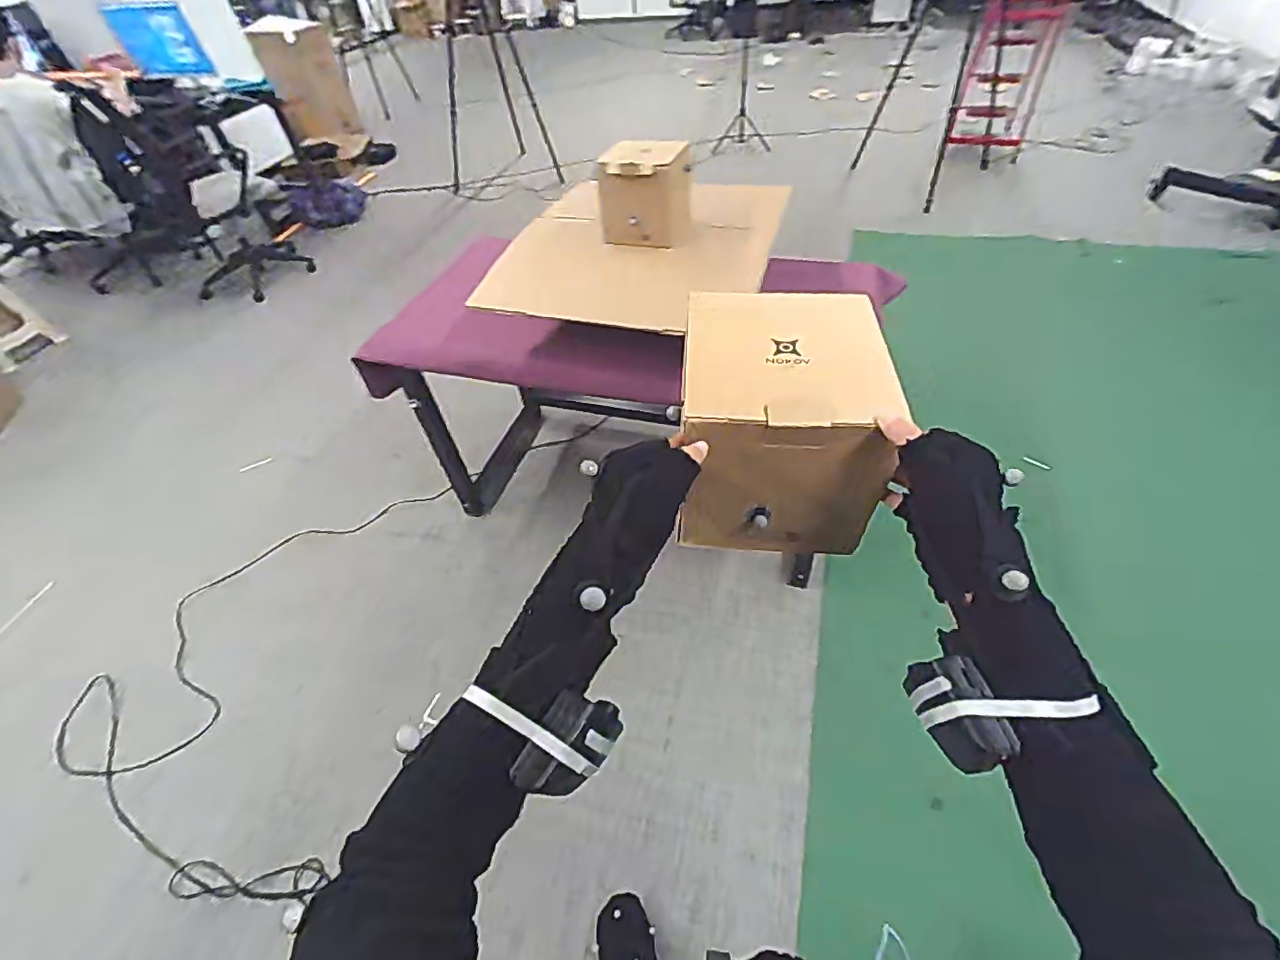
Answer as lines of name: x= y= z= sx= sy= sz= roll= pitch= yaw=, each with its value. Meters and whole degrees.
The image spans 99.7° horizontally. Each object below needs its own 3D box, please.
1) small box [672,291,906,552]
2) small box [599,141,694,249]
small box: x=0.117 y=-0.055 z=0.507 sx=0.168 sy=0.176 sz=0.179 roll=2 pitch=50 yaw=3
small box: x=0.019 y=-0.650 z=1.230 sx=0.168 sy=0.176 sz=0.179 roll=11 pitch=48 yaw=16
